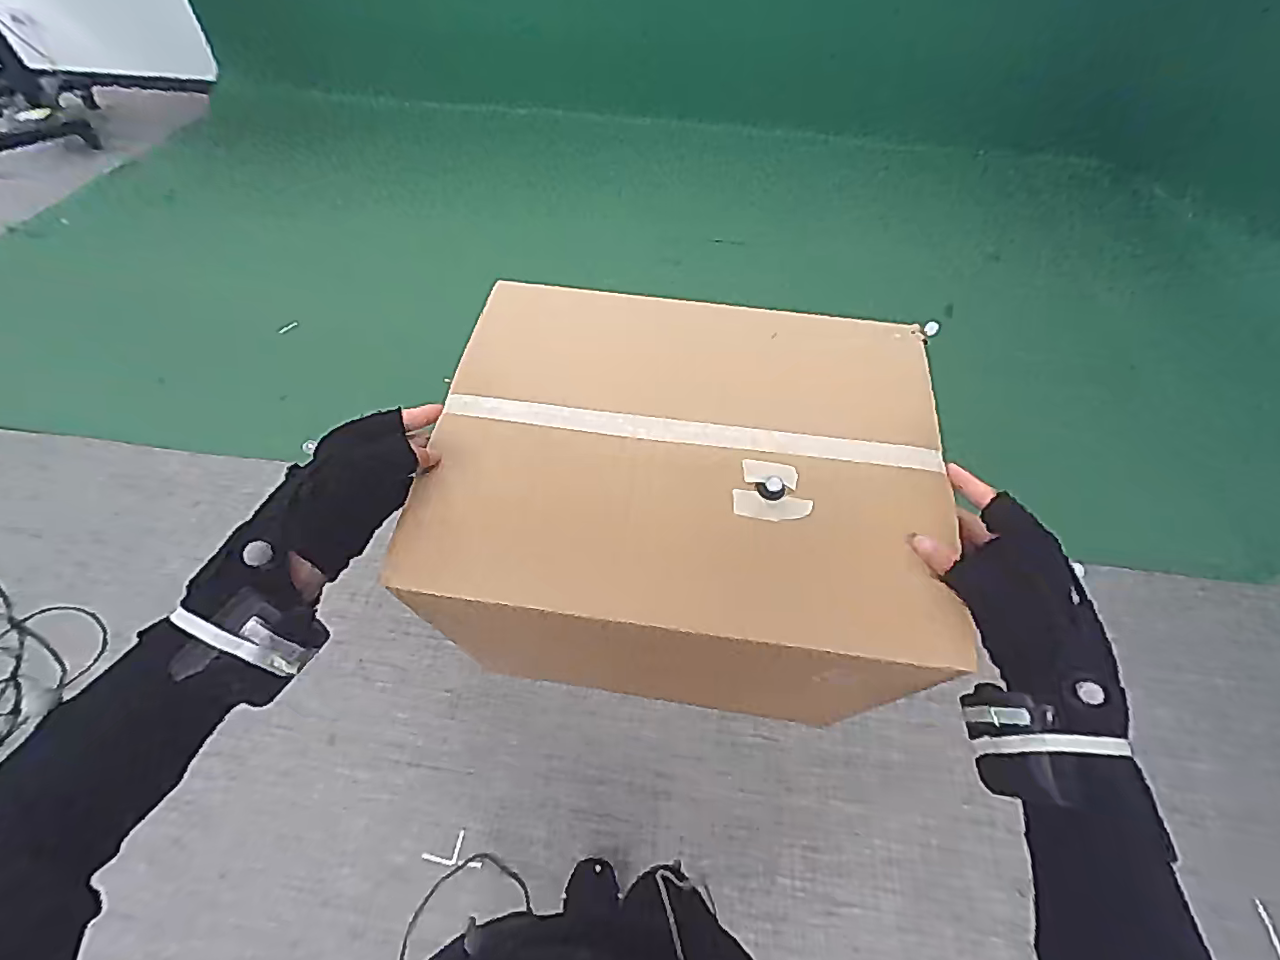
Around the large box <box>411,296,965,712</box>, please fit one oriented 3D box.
[{"bbox_3d":[0.042,0.043,0.583,0.408,0.320,0.320,7,60,3],"label":"large box"}]
